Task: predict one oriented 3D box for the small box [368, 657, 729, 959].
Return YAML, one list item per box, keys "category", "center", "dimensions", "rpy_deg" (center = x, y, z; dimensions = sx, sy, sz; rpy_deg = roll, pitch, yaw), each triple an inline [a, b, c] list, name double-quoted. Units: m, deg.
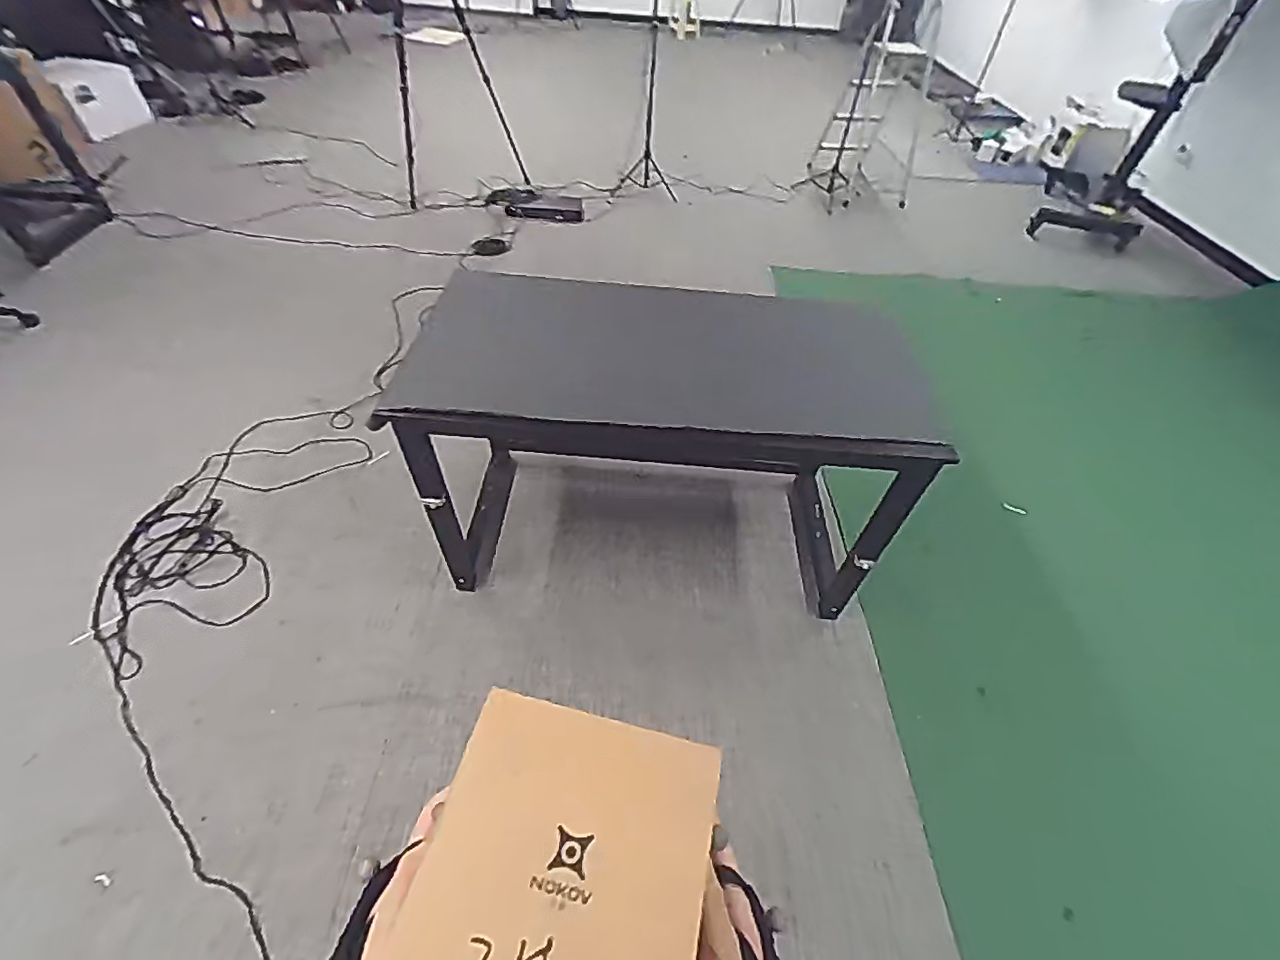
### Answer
- category: "small box"
  center: [-0.047, 0.257, 0.376]
  dimensions: [0.168, 0.176, 0.179]
  rpy_deg: [14, 51, 6]
